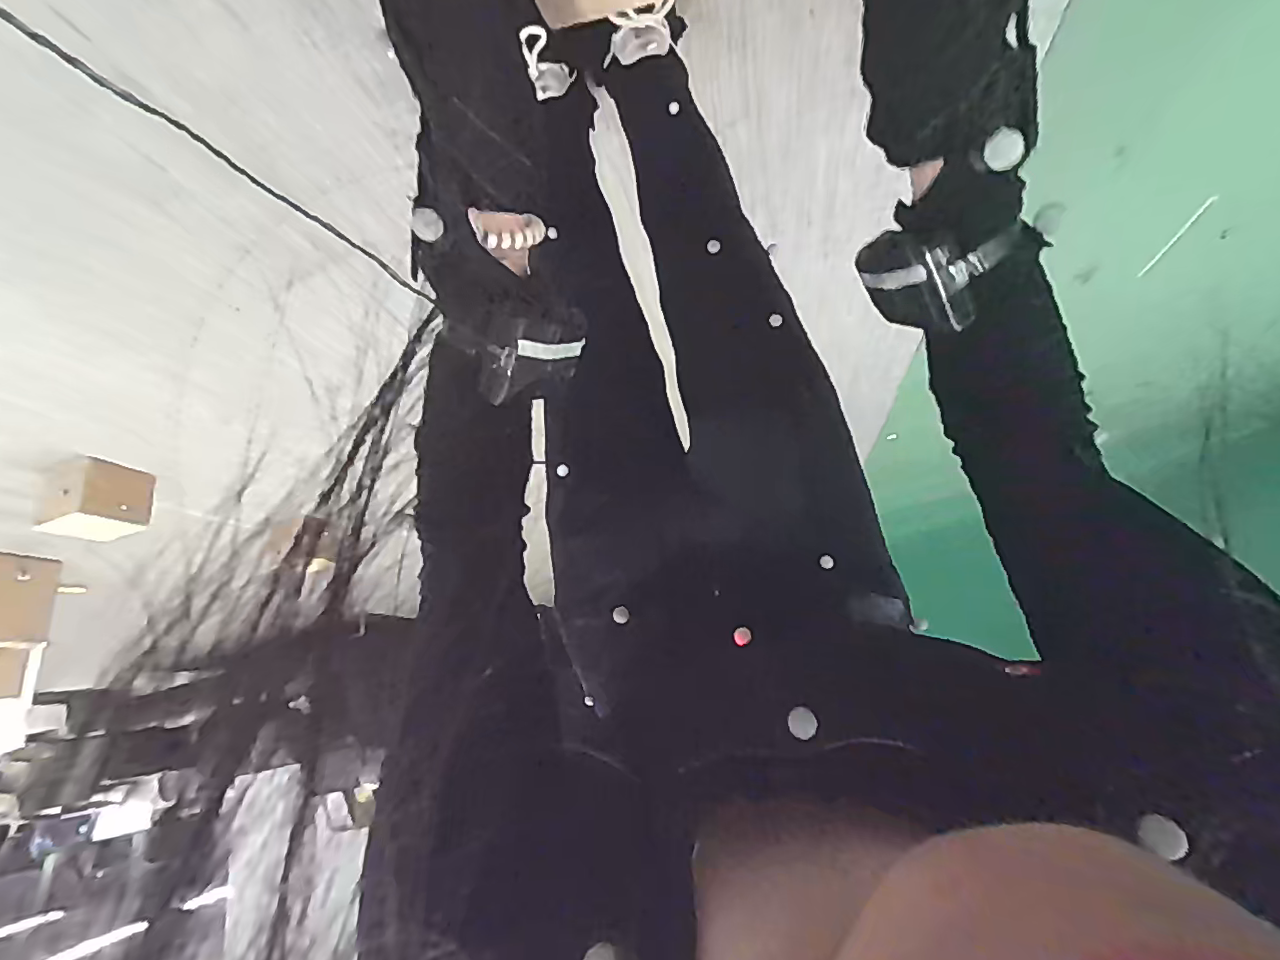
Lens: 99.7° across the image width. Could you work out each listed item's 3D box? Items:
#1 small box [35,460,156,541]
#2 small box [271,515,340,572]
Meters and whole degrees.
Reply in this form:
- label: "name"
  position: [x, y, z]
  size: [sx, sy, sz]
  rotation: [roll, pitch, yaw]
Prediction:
- label: "small box"
  position: [-1.512, 0.055, 1.512]
  size: [0.168, 0.176, 0.179]
  rotation: [-17, 160, 10]
- label: "small box"
  position: [-1.316, 0.254, 2.138]
  size: [0.179, 0.176, 0.168]
  rotation: [-16, 159, 11]
